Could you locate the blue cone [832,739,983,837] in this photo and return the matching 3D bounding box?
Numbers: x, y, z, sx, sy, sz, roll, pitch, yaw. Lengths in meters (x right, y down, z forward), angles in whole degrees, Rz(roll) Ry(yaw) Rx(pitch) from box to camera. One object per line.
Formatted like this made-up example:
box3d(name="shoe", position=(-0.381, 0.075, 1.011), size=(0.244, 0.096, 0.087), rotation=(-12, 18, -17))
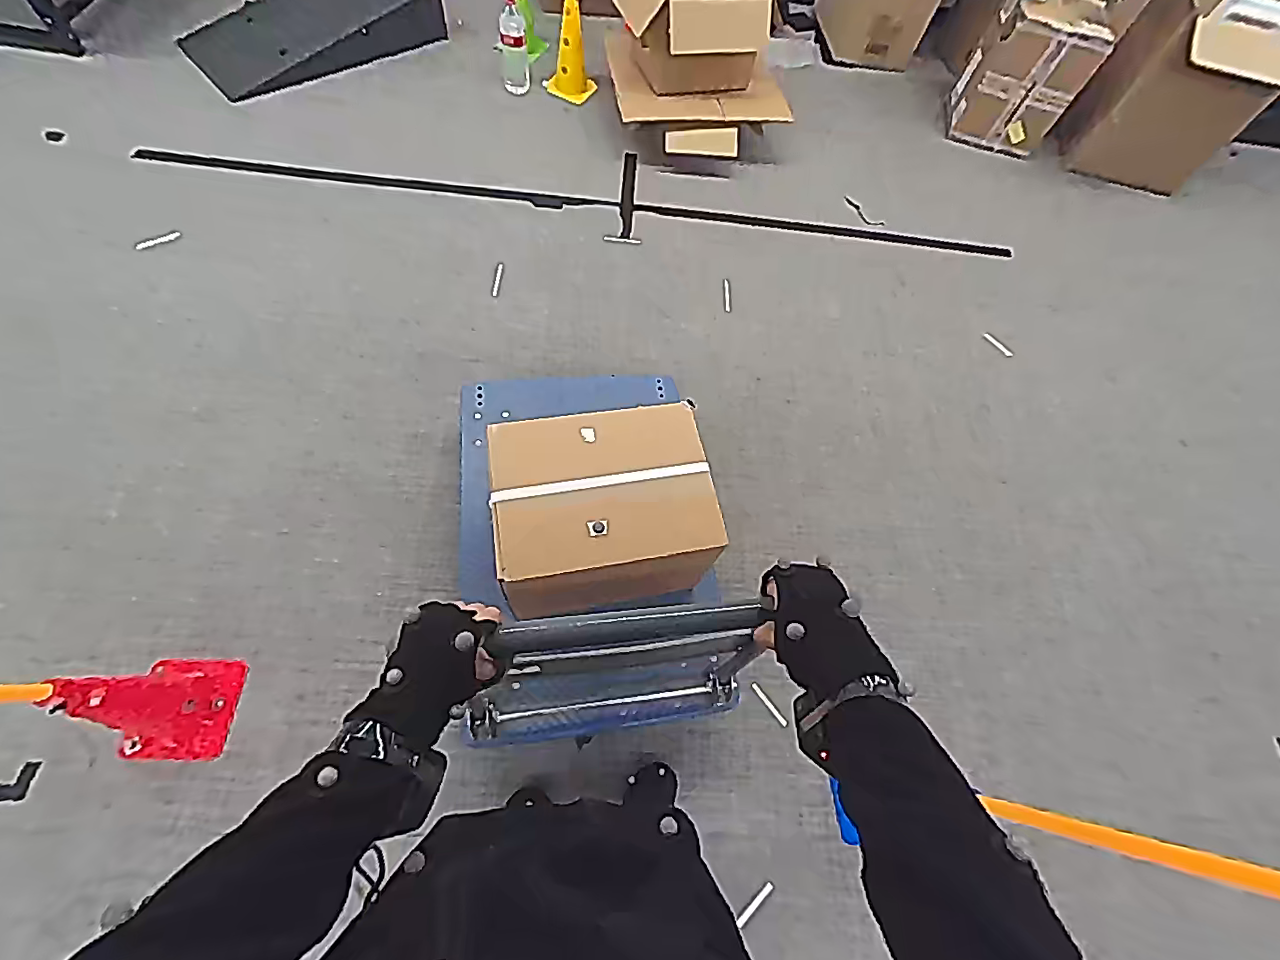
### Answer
box3d(name="blue cone", position=(0.569, 0.634, 1.109), size=(0.193, 0.380, 0.192), rotation=(1, 62, -7))
